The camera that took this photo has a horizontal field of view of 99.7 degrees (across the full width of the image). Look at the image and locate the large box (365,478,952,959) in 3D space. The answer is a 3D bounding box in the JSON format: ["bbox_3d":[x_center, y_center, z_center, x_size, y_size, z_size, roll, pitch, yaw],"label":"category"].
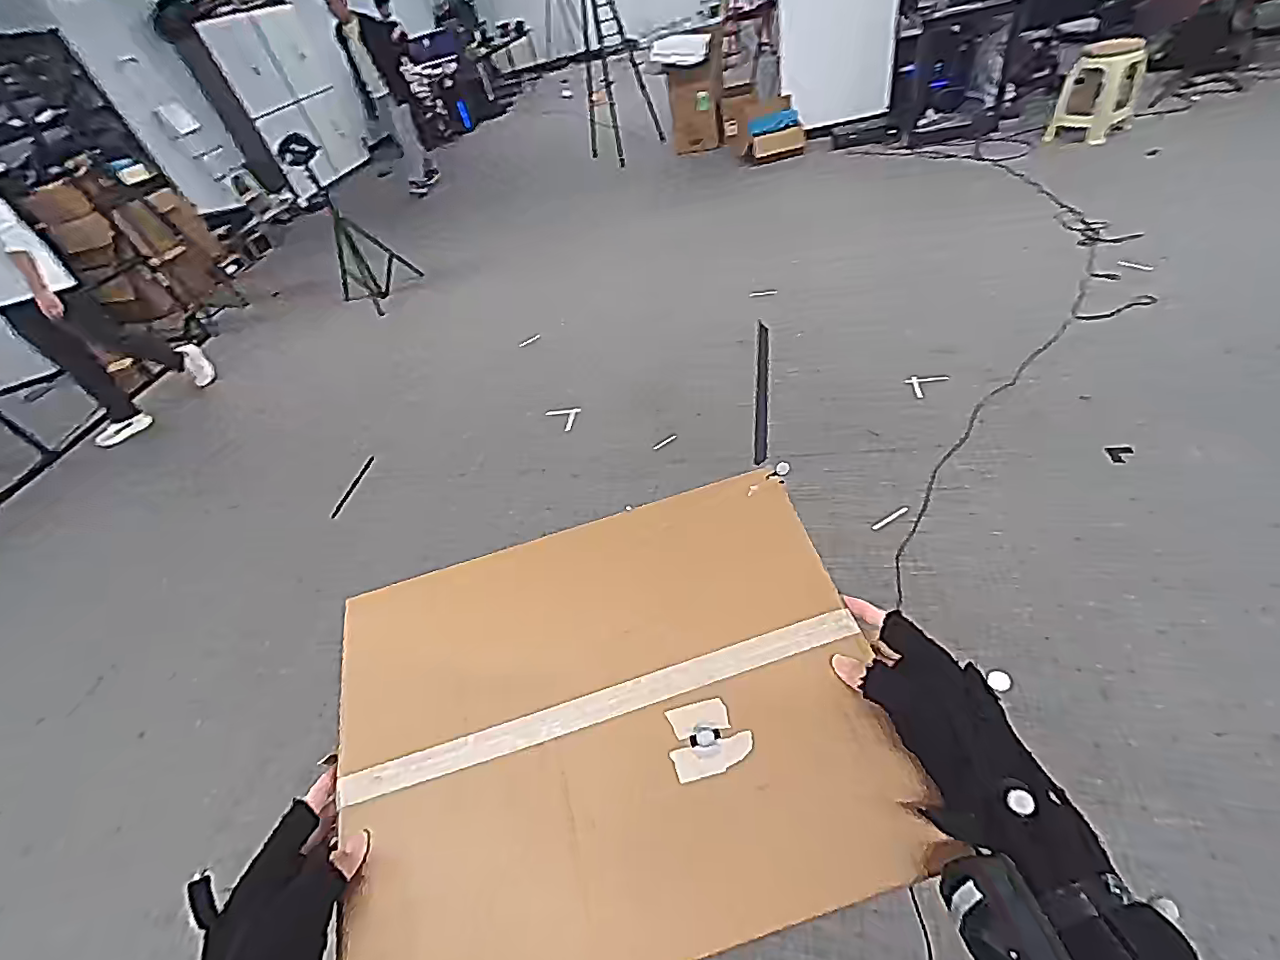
[{"bbox_3d":[-0.003,0.257,0.548,0.408,0.320,0.320,-17,57,-2],"label":"large box"}]
